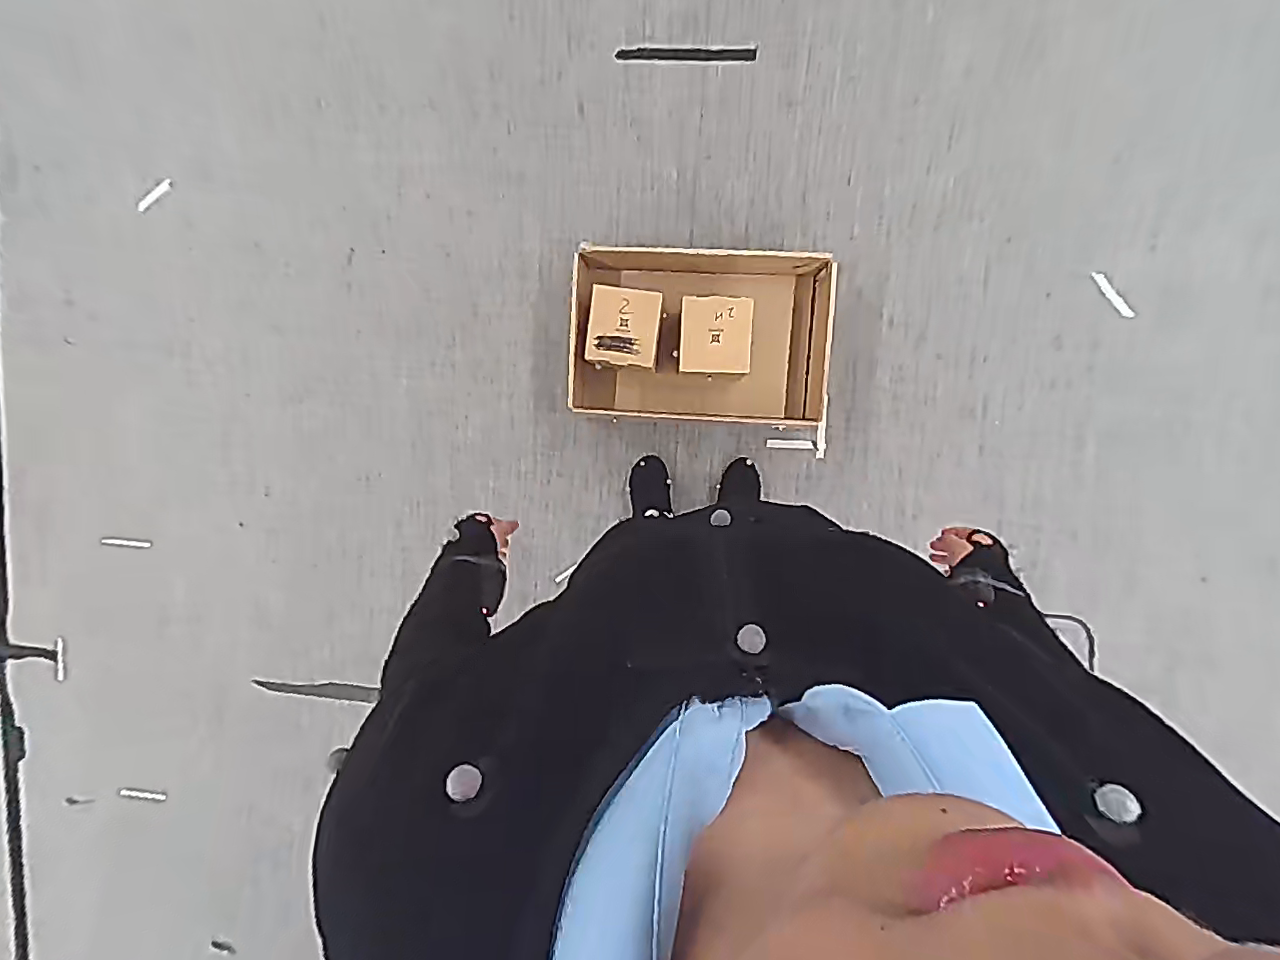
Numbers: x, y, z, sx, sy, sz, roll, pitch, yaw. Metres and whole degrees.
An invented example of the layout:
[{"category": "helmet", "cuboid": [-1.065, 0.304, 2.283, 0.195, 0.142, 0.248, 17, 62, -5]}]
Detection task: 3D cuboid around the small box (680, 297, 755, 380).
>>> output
[{"category": "small box", "cuboid": [0.186, -0.343, 1.333, 0.168, 0.176, 0.179, 3, 96, 4]}]
